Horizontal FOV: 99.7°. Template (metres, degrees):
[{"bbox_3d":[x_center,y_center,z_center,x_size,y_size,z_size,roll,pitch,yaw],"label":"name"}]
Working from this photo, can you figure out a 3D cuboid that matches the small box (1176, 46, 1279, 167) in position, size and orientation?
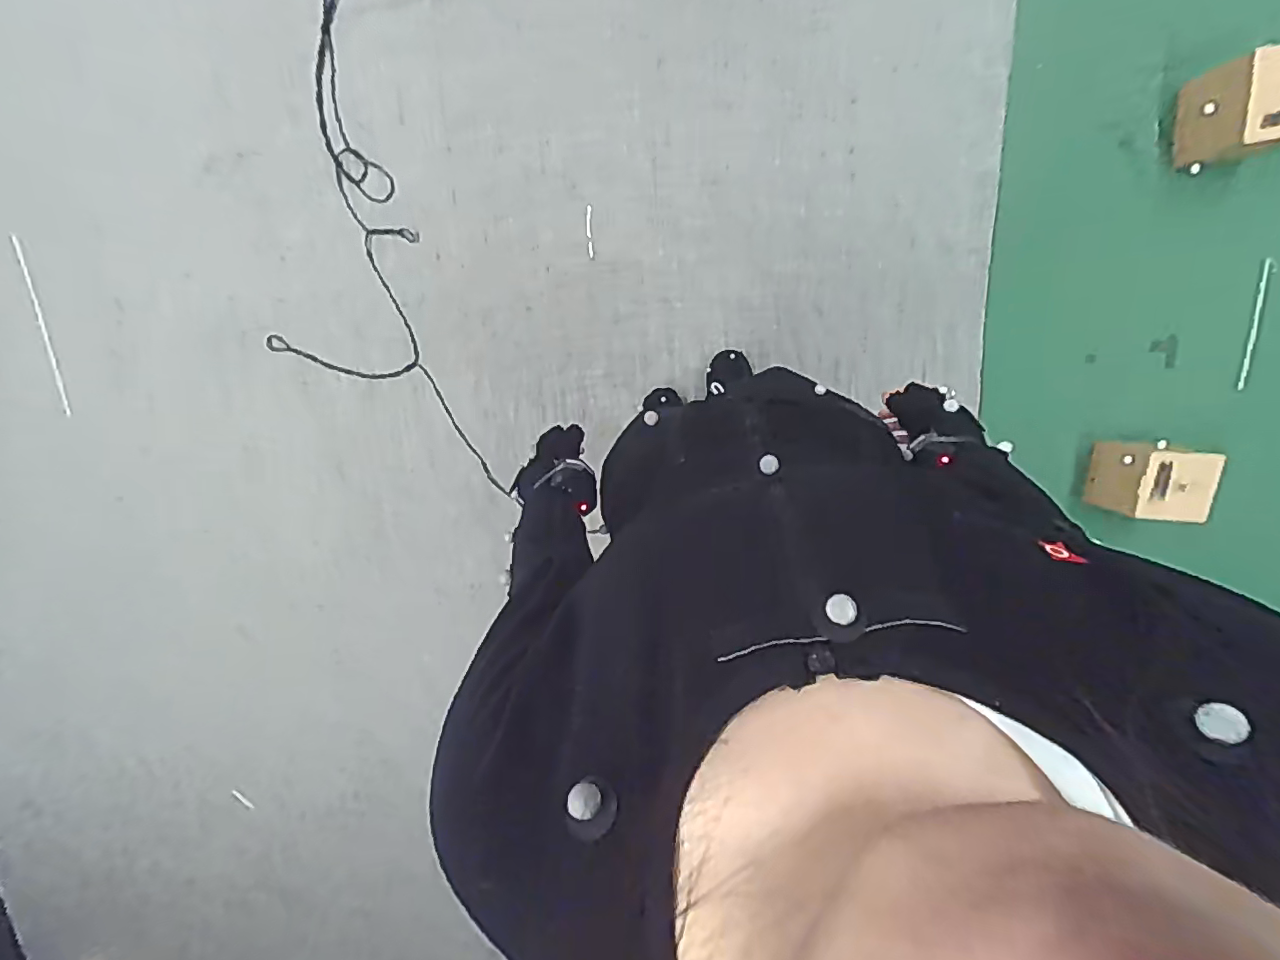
[{"bbox_3d":[1.319,-0.797,1.165,0.168,0.176,0.179,-5,102,3],"label":"small box"}]
